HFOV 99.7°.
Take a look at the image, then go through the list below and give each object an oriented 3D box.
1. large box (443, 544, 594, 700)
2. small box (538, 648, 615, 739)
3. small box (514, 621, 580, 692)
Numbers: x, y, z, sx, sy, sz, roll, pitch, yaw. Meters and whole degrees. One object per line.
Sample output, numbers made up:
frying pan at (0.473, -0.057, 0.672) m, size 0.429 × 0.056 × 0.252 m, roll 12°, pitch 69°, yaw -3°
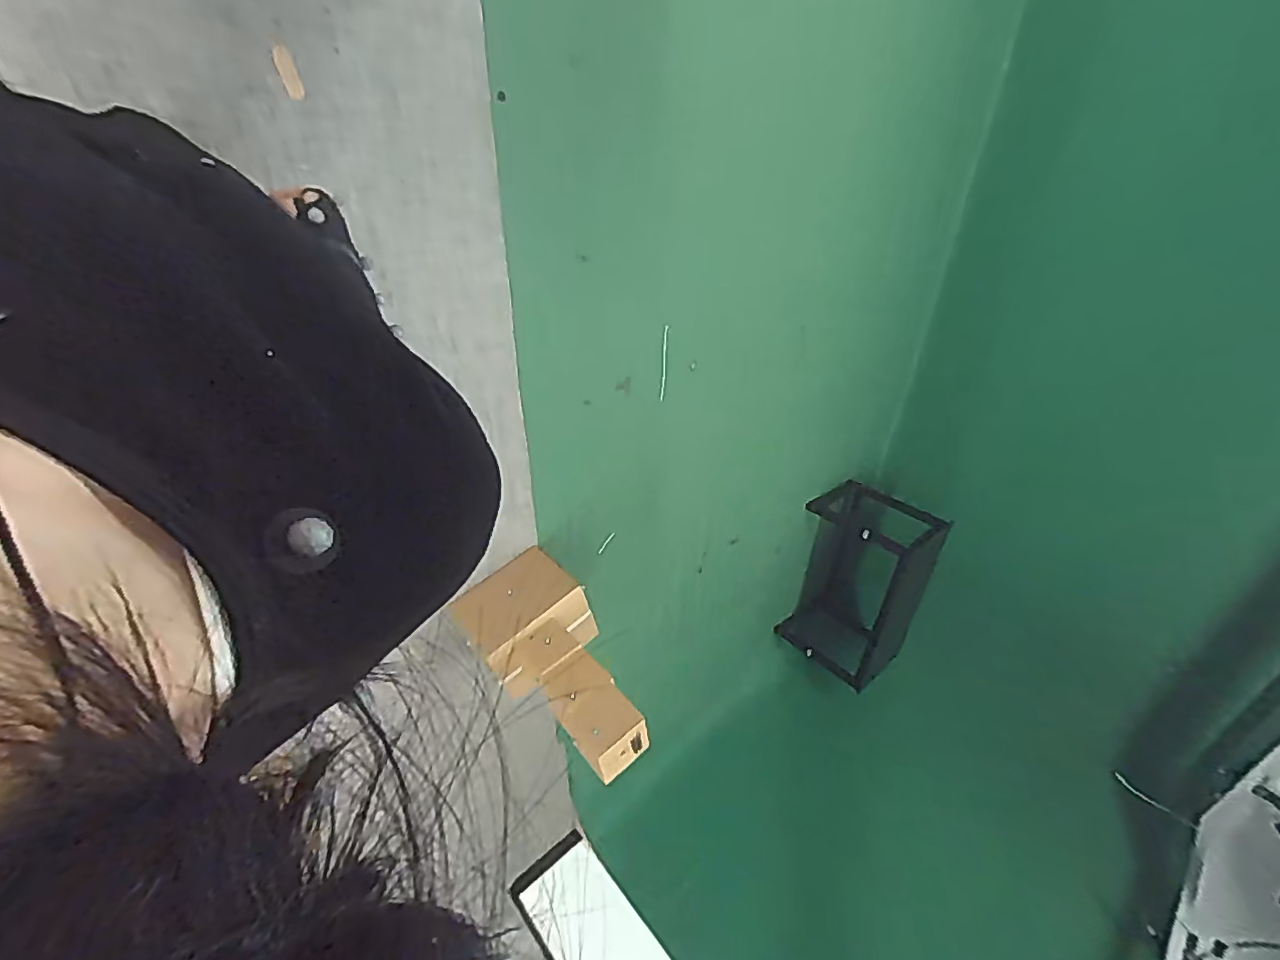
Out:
large box at (-0.449, 0.520, 2.034) m, size 0.408 × 0.320 × 0.320 m, roll -37°, pitch 137°, yaw -26°
small box at (-0.204, 0.682, 1.748) m, size 0.179 × 0.176 × 0.168 m, roll -30°, pitch 133°, yaw -30°
small box at (-0.309, 0.609, 1.848) m, size 0.168 × 0.176 × 0.179 m, roll -31°, pitch 133°, yaw -29°
